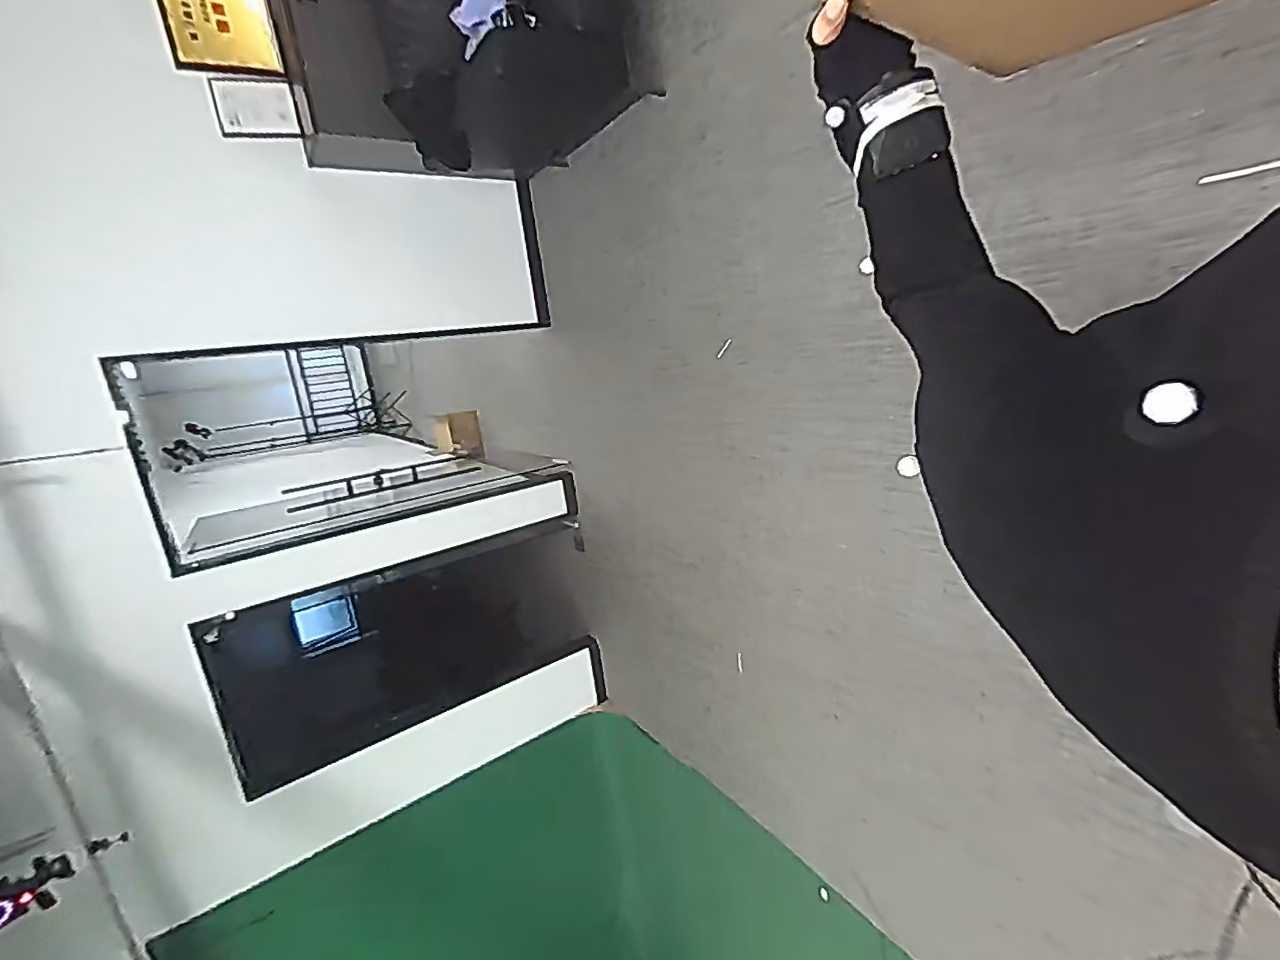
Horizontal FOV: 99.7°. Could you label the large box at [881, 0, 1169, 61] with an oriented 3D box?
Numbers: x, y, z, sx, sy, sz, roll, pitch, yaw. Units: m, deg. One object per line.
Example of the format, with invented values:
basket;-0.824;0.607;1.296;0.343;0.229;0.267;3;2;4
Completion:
large box;0.234;-0.416;0.159;0.408;0.320;0.320;-126;46;-63
